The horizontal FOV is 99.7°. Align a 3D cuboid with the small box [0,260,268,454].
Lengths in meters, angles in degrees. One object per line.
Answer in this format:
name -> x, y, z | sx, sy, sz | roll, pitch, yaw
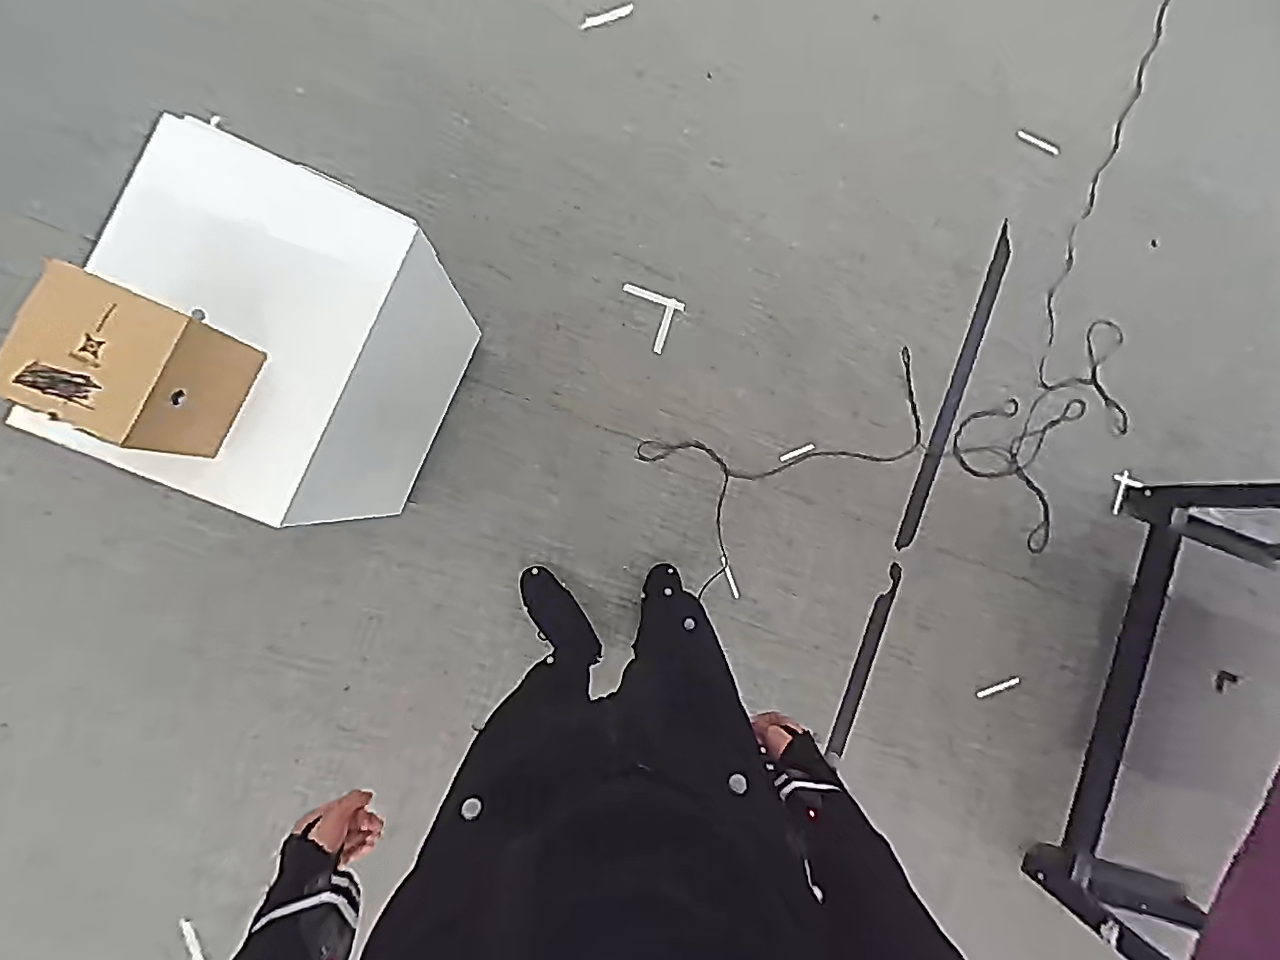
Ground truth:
small box -> -0.648, -0.147, 0.721 | 0.168, 0.176, 0.179 | 25, 84, -5
